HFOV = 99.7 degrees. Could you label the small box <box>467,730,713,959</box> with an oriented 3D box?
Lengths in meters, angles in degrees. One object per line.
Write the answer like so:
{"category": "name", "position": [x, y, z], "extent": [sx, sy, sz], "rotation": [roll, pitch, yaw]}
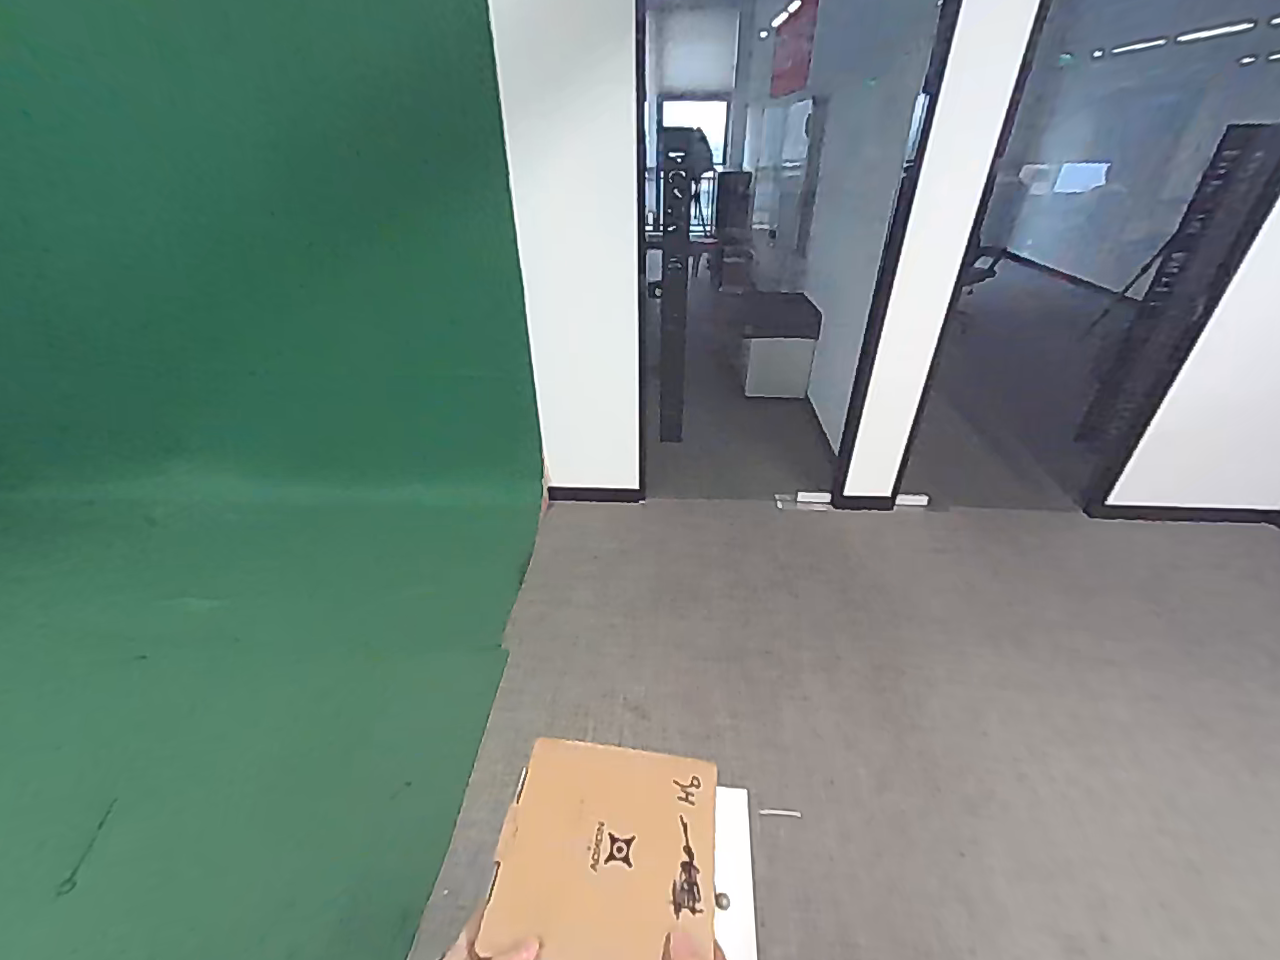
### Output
{"category": "small box", "position": [-0.031, 0.360, 0.492], "extent": [0.179, 0.176, 0.168], "rotation": [6, 36, 6]}
